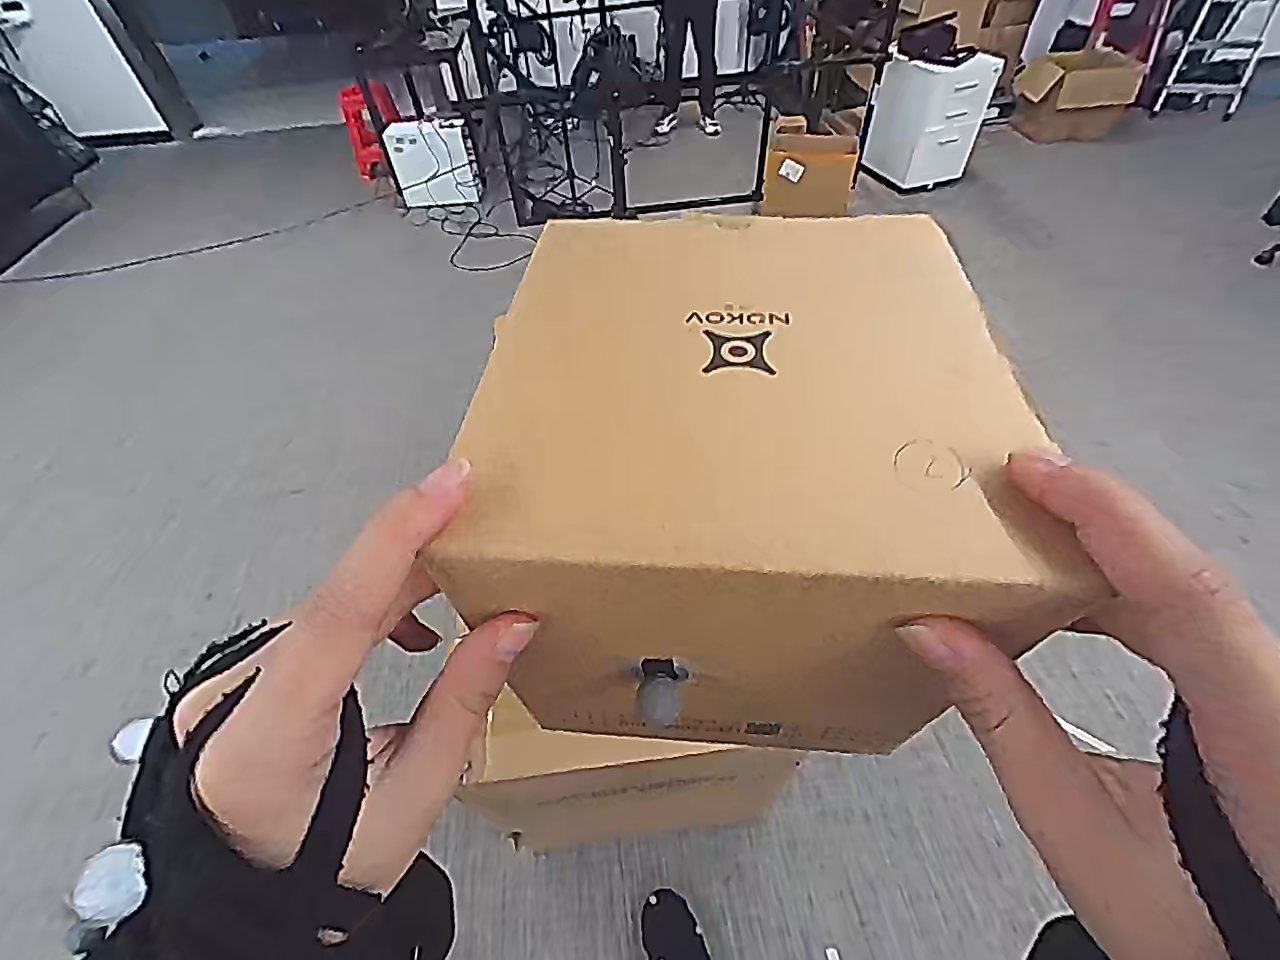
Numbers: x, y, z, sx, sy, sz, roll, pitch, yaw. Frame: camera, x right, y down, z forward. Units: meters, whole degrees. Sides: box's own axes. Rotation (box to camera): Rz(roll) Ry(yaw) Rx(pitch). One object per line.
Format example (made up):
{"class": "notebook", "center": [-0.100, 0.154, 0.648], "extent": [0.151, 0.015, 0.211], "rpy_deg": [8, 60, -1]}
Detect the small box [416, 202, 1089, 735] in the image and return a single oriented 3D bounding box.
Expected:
{"class": "small box", "center": [0.034, 0.001, 0.244], "extent": [0.168, 0.176, 0.179], "rpy_deg": [1, 50, 5]}
